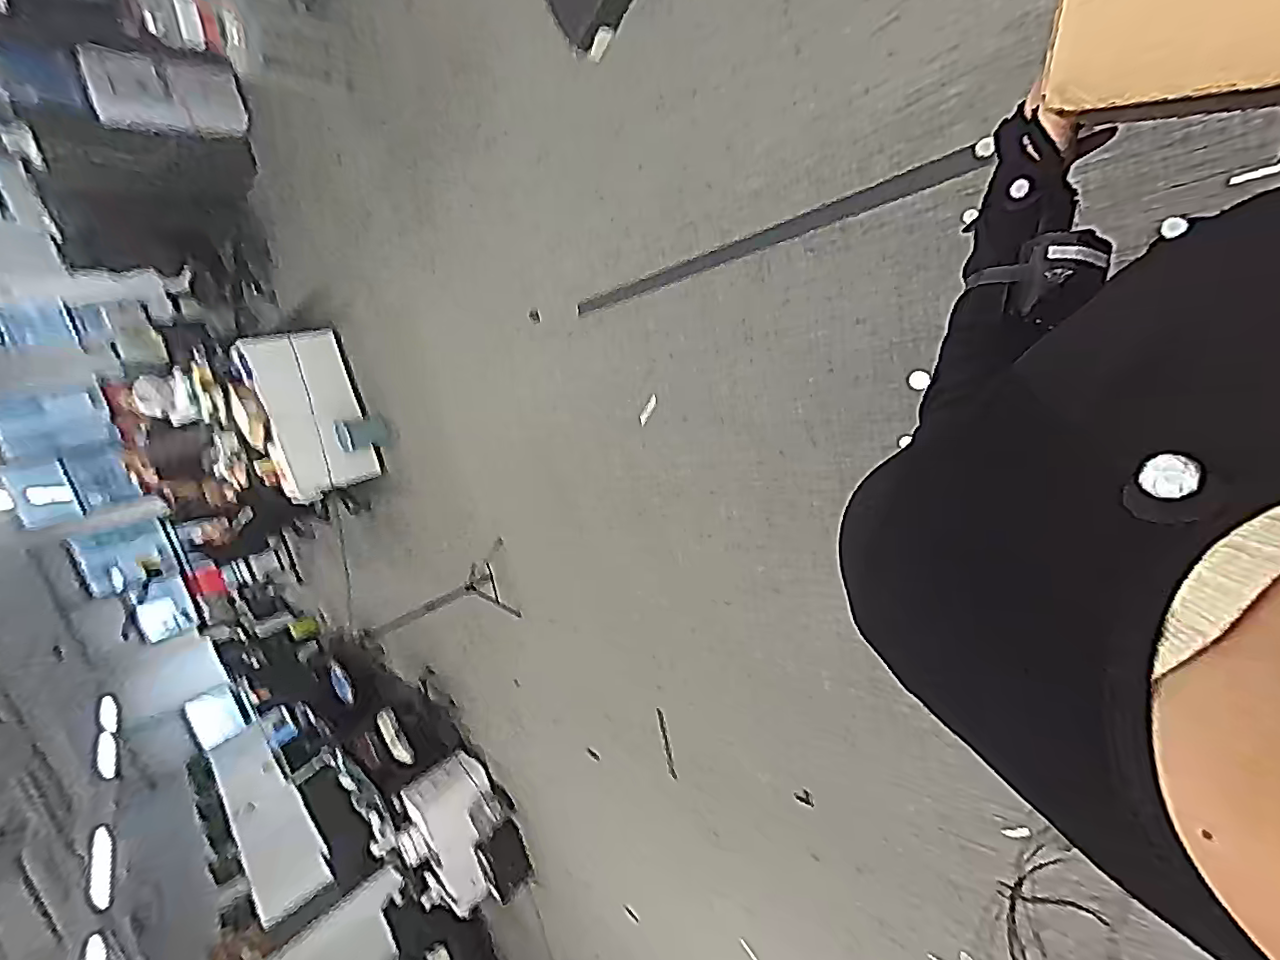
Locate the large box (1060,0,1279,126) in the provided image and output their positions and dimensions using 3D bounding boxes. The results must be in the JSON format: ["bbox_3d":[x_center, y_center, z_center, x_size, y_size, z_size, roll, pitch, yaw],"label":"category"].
[{"bbox_3d":[0.414,-0.319,0.159,0.408,0.320,0.320,16,126,34],"label":"large box"}]
